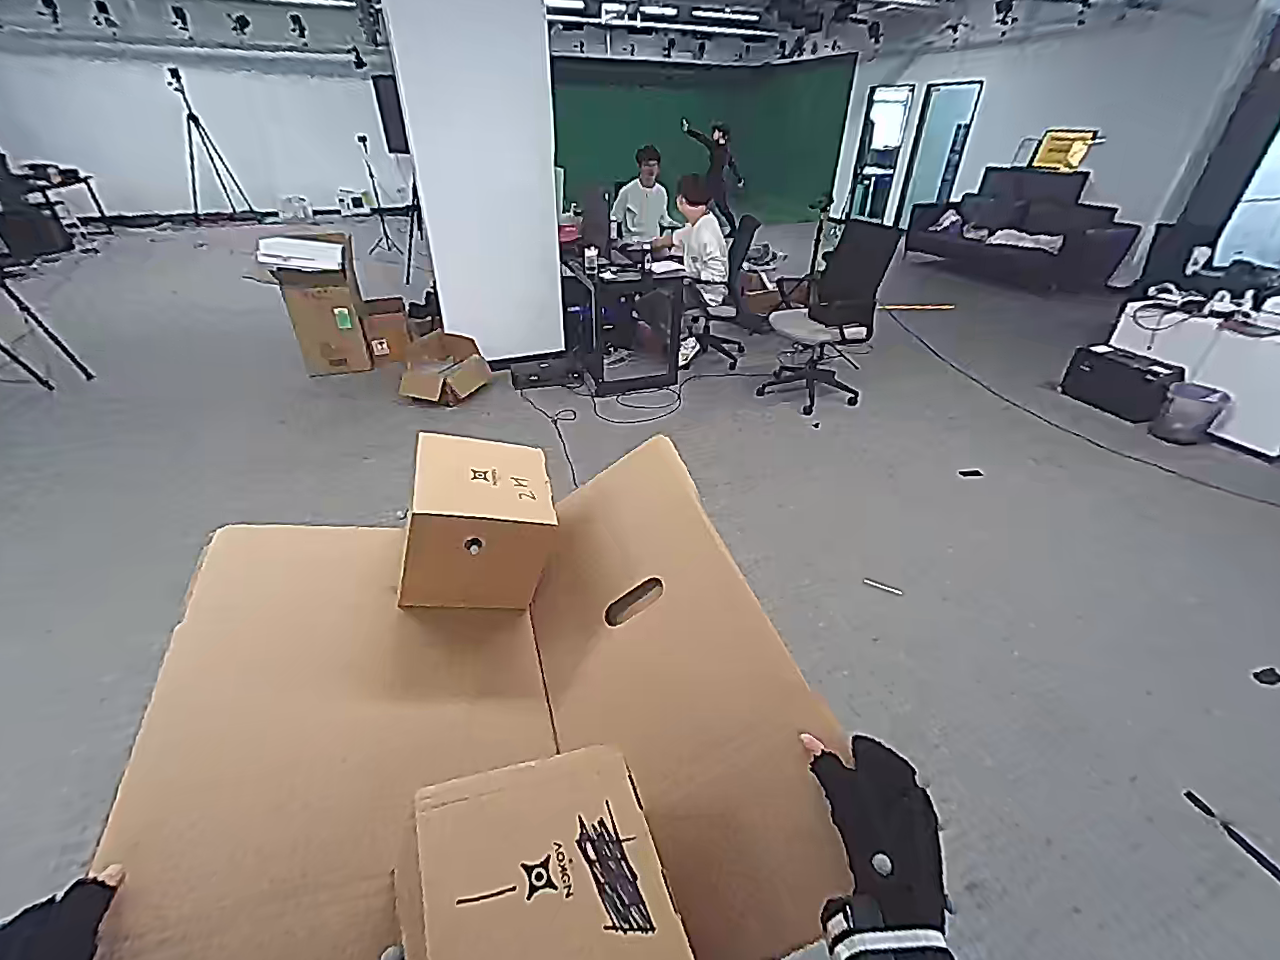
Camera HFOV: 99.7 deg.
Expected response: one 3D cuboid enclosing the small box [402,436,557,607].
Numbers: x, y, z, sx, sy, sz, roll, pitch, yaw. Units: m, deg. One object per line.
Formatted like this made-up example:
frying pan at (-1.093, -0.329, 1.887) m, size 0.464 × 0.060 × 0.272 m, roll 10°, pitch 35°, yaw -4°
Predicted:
small box at (-0.228, 0.062, 0.759) m, size 0.179 × 0.176 × 0.168 m, roll 8°, pitch 36°, yaw -23°
